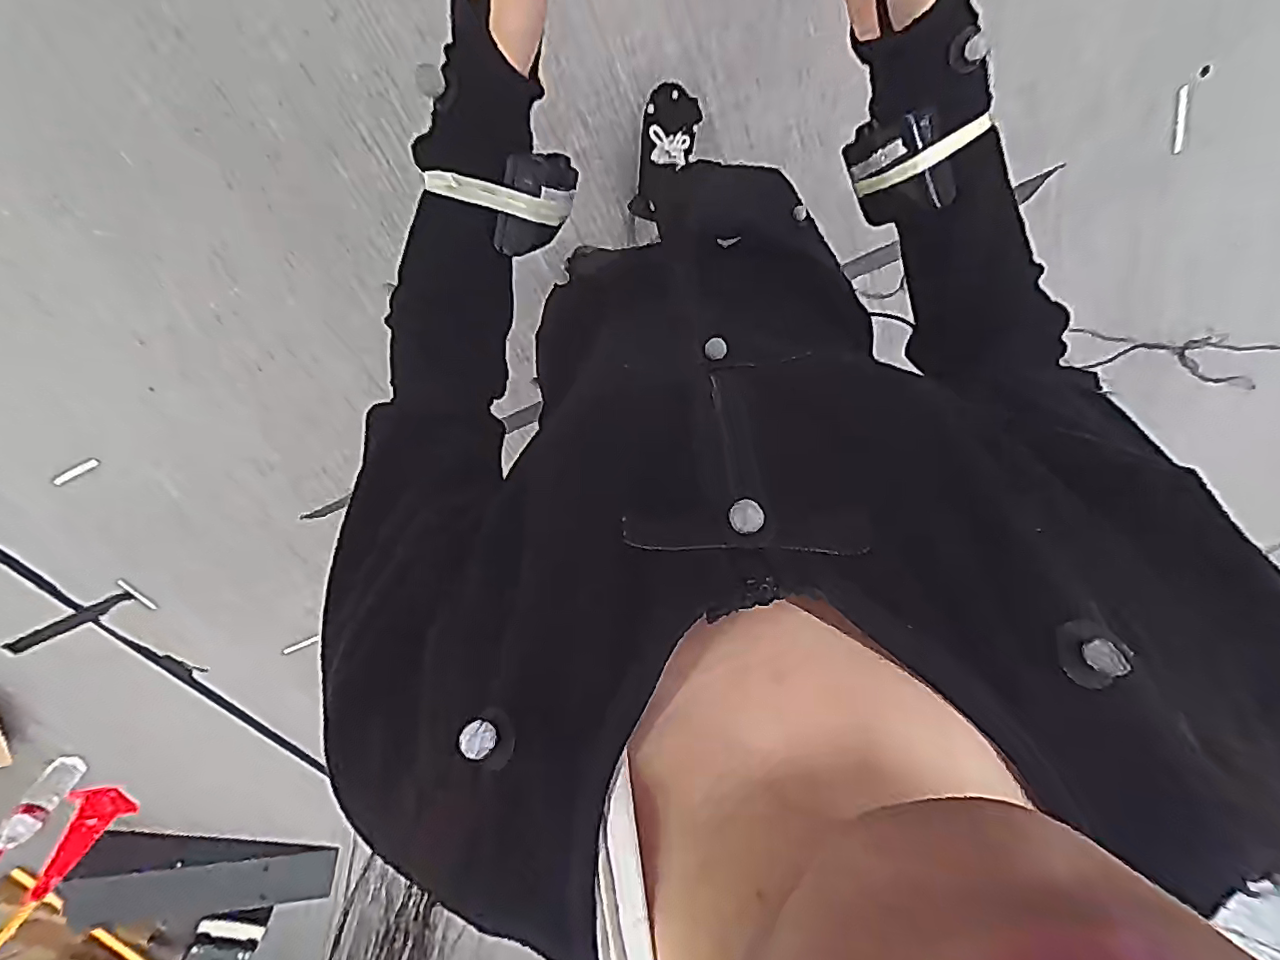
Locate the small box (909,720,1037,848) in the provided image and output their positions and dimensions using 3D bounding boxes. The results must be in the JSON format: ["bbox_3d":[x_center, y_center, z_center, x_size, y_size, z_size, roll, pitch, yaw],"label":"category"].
[{"bbox_3d":[0.713,0.649,1.170,0.168,0.176,0.179,-27,121,10],"label":"small box"}]
